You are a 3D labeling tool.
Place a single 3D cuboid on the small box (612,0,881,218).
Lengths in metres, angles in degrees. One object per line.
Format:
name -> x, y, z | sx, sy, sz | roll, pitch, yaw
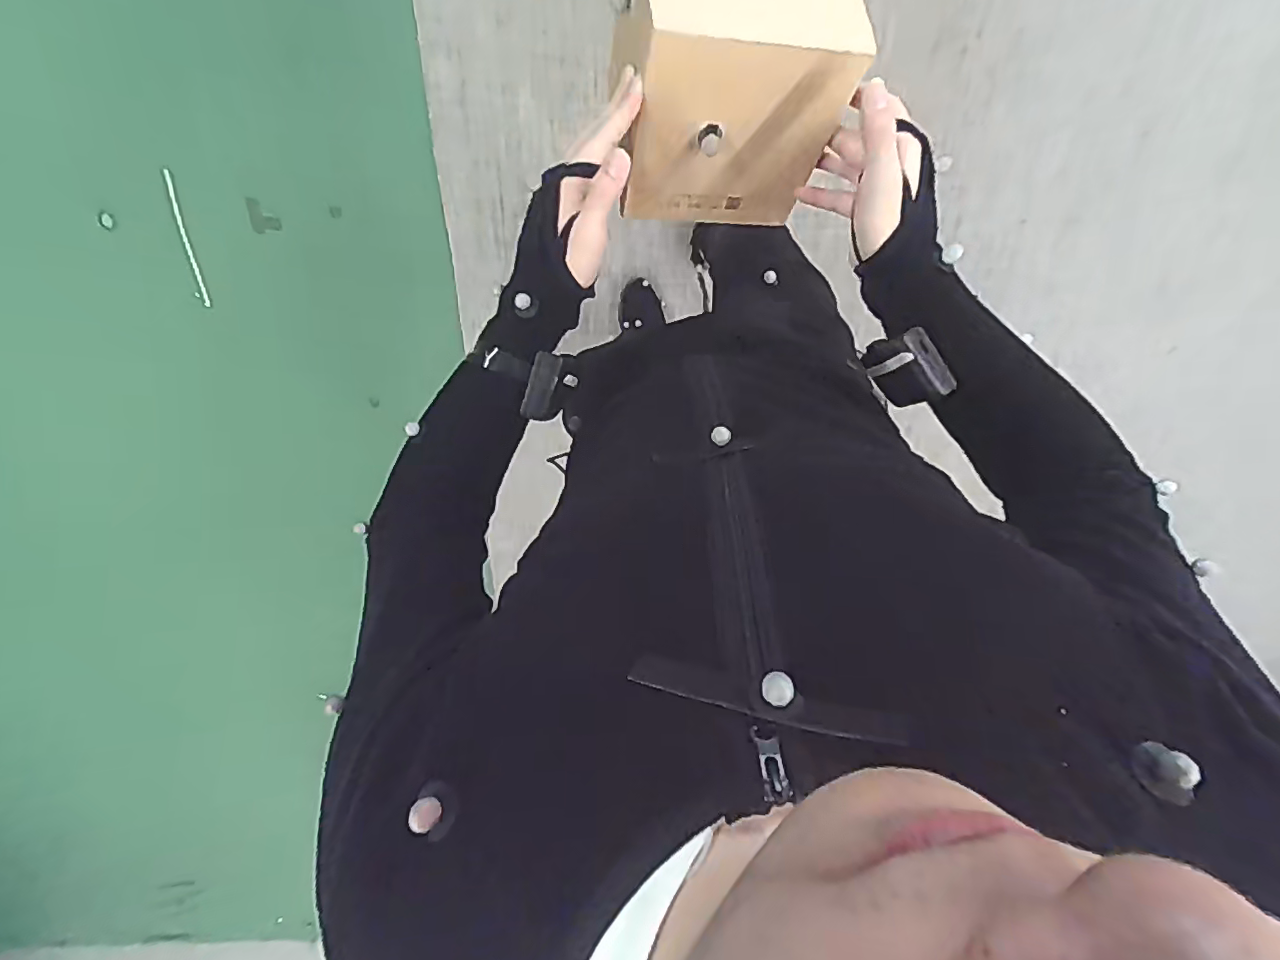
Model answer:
small box -> 0.070, -0.355, 0.466 | 0.168, 0.176, 0.179 | -3, 71, -11
